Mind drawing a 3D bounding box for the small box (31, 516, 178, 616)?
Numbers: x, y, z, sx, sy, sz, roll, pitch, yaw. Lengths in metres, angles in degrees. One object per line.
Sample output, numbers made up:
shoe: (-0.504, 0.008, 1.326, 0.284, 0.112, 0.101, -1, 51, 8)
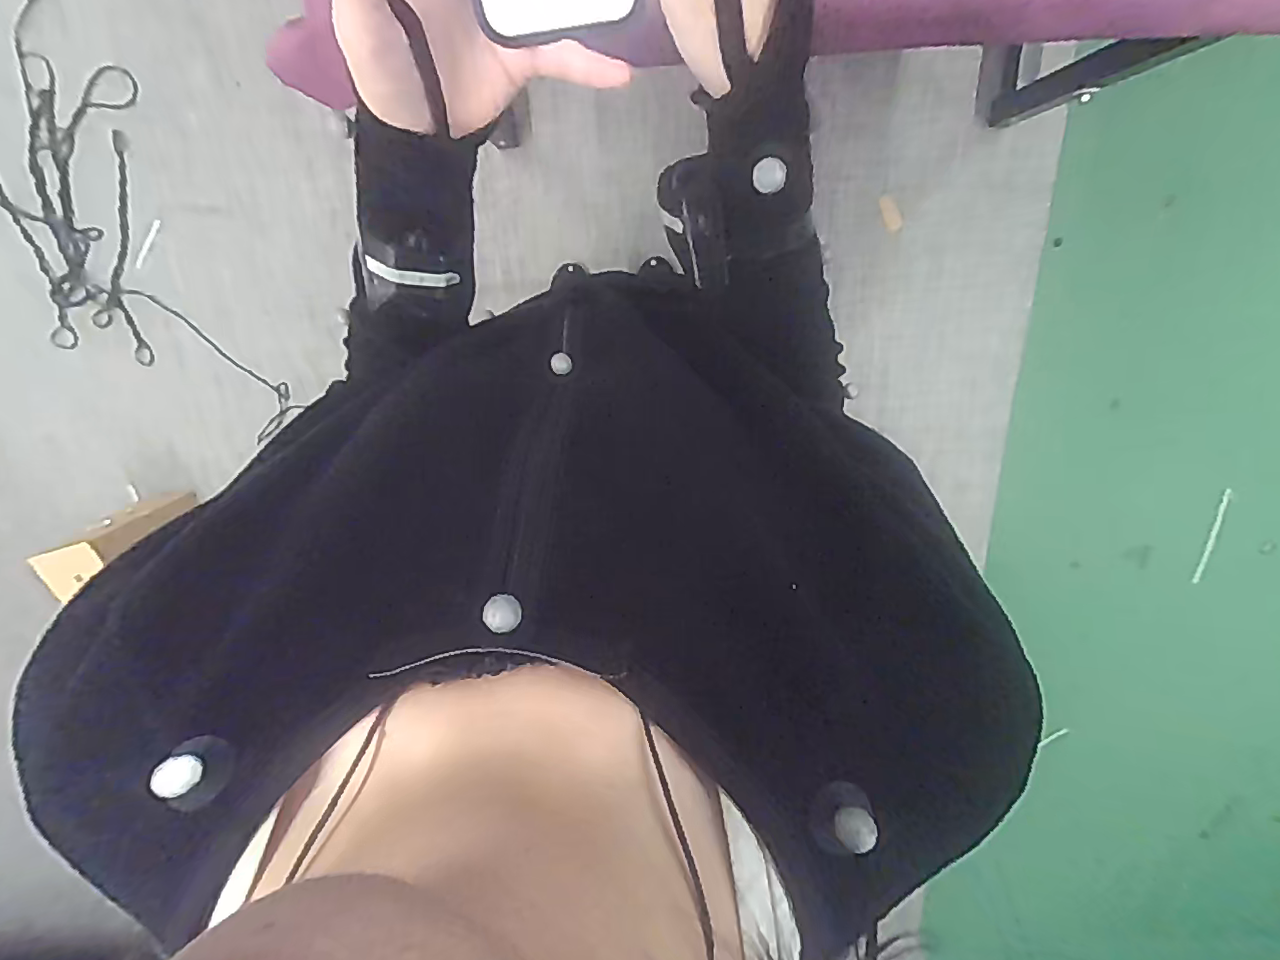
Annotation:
small box: (-1.357, 0.217, 1.388, 0.168, 0.176, 0.179, -15, 110, 5)

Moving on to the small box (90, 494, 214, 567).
small box: (-1.369, 0.153, 1.538, 0.179, 0.176, 0.168, -10, 111, 5)
